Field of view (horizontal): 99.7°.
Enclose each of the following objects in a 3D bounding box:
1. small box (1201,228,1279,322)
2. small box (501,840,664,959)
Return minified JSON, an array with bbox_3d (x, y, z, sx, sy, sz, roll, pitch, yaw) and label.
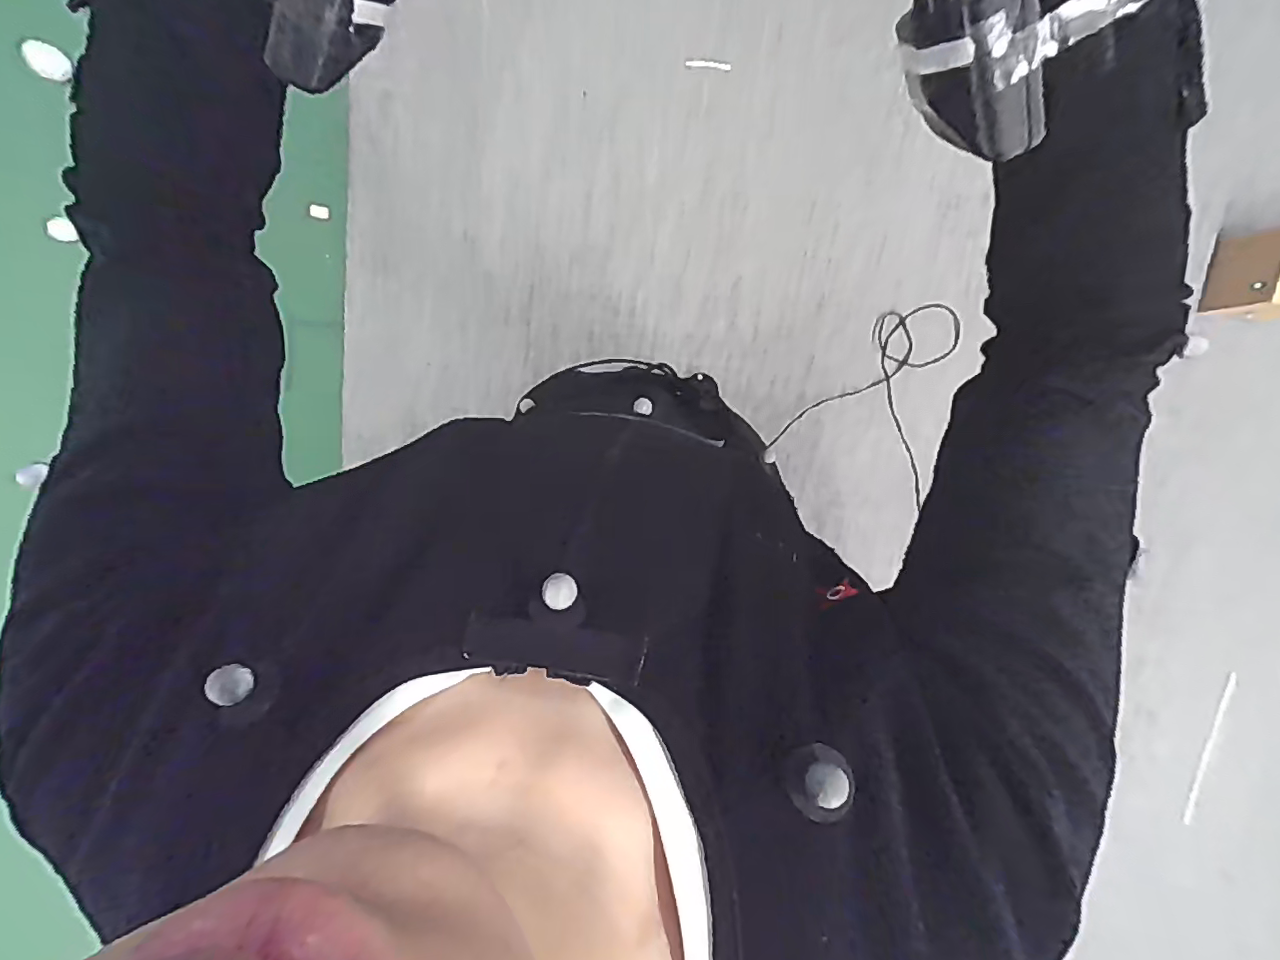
[{"bbox_3d":[1.453,-0.467,1.231,0.168,0.176,0.179,7,100,2],"label":"small box"},{"bbox_3d":[-0.067,0.547,0.592,0.168,0.176,0.179,10,100,0],"label":"small box"}]
